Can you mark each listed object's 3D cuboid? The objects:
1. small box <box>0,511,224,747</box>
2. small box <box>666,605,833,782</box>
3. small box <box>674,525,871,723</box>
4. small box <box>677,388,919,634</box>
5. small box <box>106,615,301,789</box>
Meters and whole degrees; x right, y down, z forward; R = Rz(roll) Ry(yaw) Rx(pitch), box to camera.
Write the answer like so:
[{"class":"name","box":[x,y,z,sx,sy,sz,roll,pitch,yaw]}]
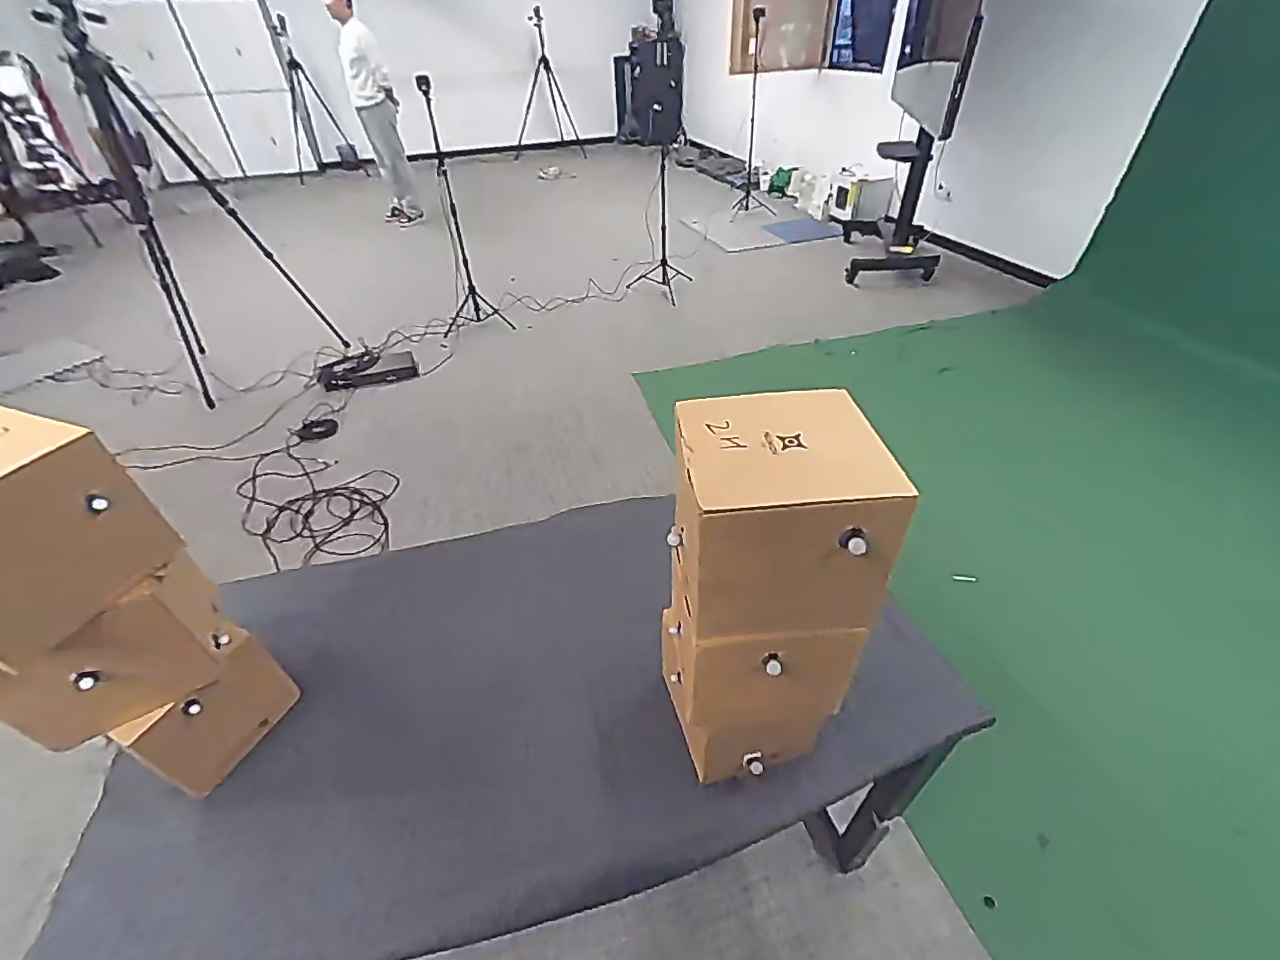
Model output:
[{"class":"small box","box":[-0.633,0.174,0.645,0.179,0.176,0.168,-26,47,-25]},{"class":"small box","box":[0.137,0.274,0.742,0.168,0.176,0.179,-12,41,-10]},{"class":"small box","box":[0.135,0.158,0.627,0.179,0.176,0.168,-6,40,-2]},{"class":"small box","box":[0.130,0.030,0.524,0.179,0.176,0.168,-5,39,0]},{"class":"small box","box":[-0.629,0.296,0.756,0.179,0.176,0.168,15,44,19]}]
